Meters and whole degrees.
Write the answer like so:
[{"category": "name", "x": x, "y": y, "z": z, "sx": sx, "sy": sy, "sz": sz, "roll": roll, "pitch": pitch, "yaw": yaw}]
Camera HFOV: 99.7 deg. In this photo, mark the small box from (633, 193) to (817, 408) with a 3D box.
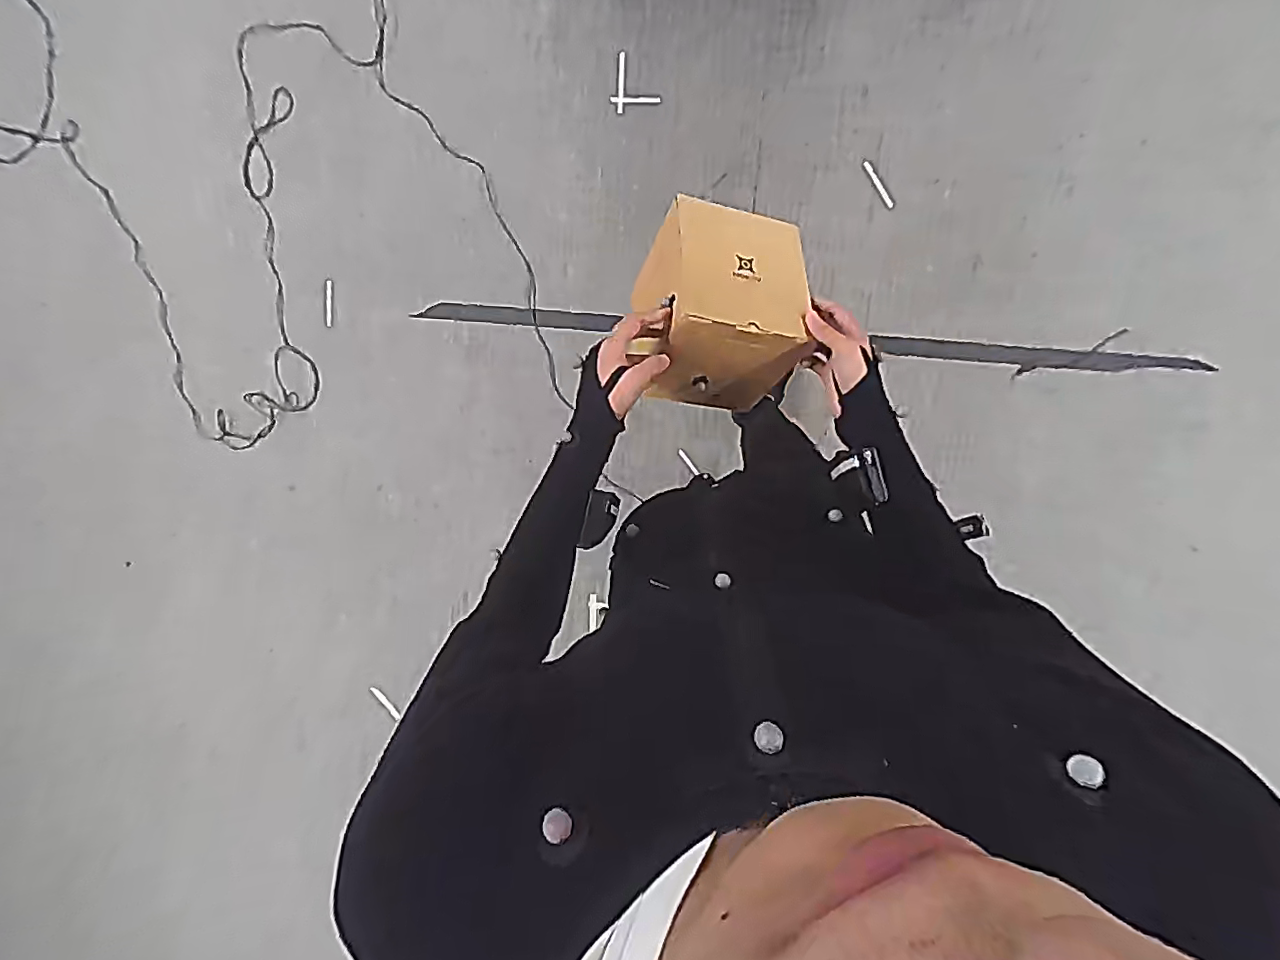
[{"category": "small box", "x": 0.093, "y": -0.214, "z": 0.682, "sx": 0.168, "sy": 0.176, "sz": 0.179, "roll": 5, "pitch": 68, "yaw": -18}]
